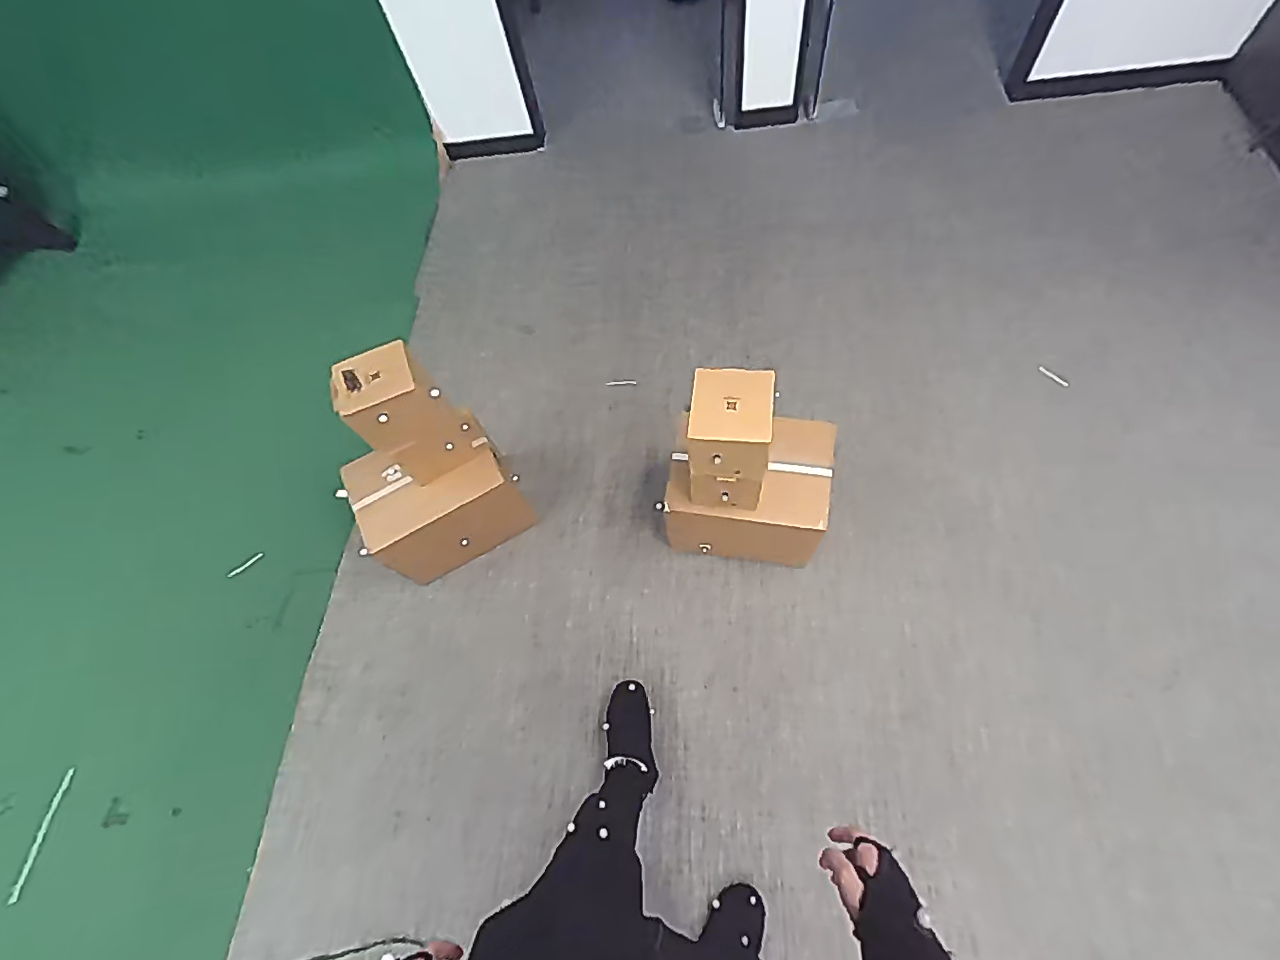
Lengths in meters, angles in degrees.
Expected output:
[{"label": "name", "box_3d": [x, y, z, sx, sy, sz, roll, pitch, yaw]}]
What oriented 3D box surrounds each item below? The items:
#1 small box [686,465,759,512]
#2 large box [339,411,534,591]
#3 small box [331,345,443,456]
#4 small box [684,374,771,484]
[{"label": "small box", "box_3d": [0.205, -0.033, 1.306, 0.168, 0.176, 0.179, 5, 65, 9]}, {"label": "large box", "box_3d": [-0.596, 0.072, 1.632, 0.408, 0.320, 0.320, -30, 62, -7]}, {"label": "small box", "box_3d": [-0.605, -0.185, 1.302, 0.179, 0.176, 0.168, -23, 62, -6]}, {"label": "small box", "box_3d": [0.189, -0.105, 1.161, 0.168, 0.176, 0.179, 4, 63, 10]}]
